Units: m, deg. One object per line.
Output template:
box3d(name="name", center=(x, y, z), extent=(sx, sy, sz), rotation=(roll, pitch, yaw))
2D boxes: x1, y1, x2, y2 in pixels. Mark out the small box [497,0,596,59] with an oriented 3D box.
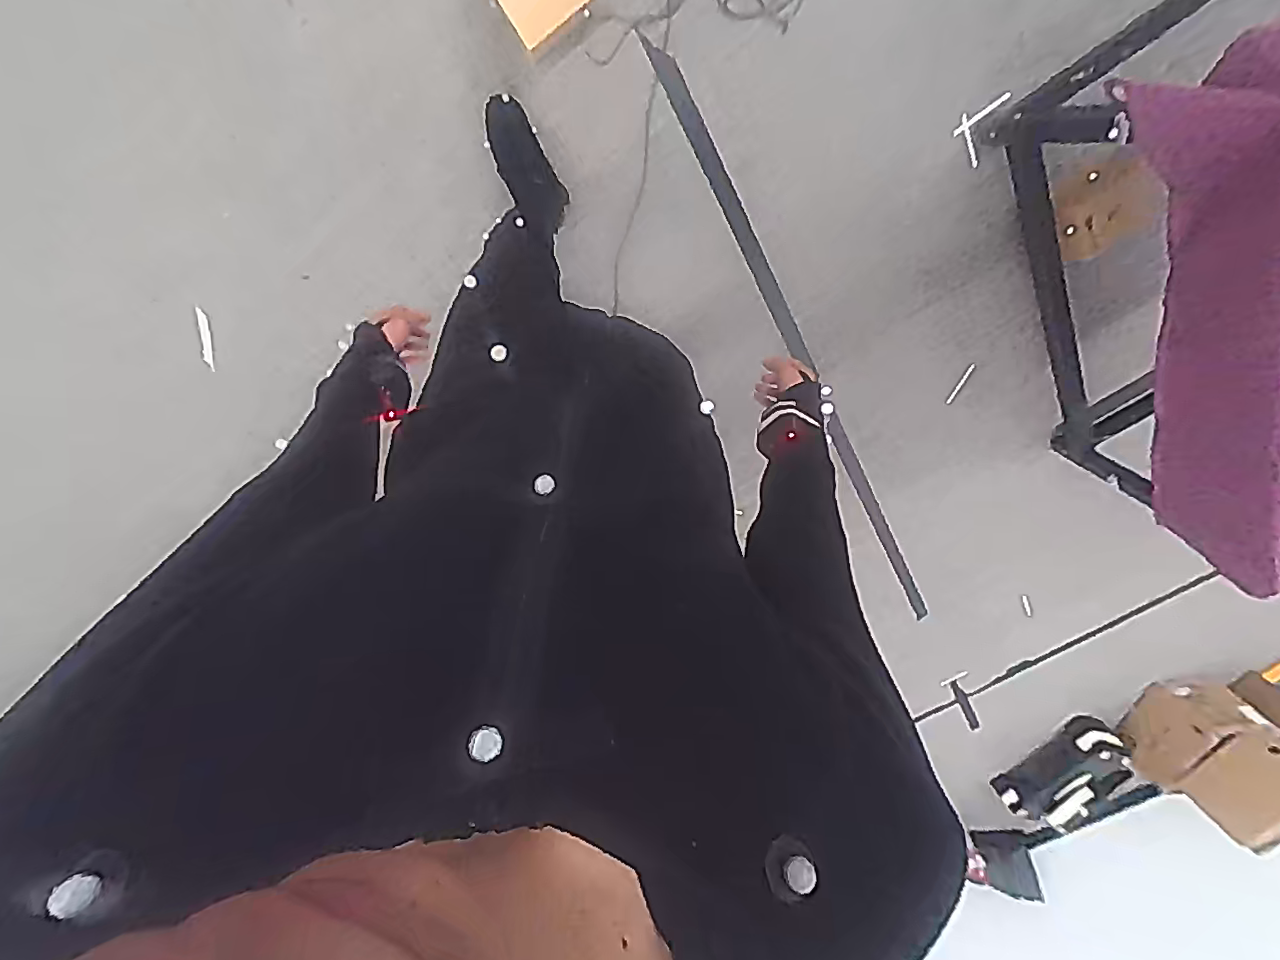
box3d(name="small box", center=(-0.194, -0.970, 1.057), extent=(0.179, 0.176, 0.168), rotation=(-33, 120, 12))
